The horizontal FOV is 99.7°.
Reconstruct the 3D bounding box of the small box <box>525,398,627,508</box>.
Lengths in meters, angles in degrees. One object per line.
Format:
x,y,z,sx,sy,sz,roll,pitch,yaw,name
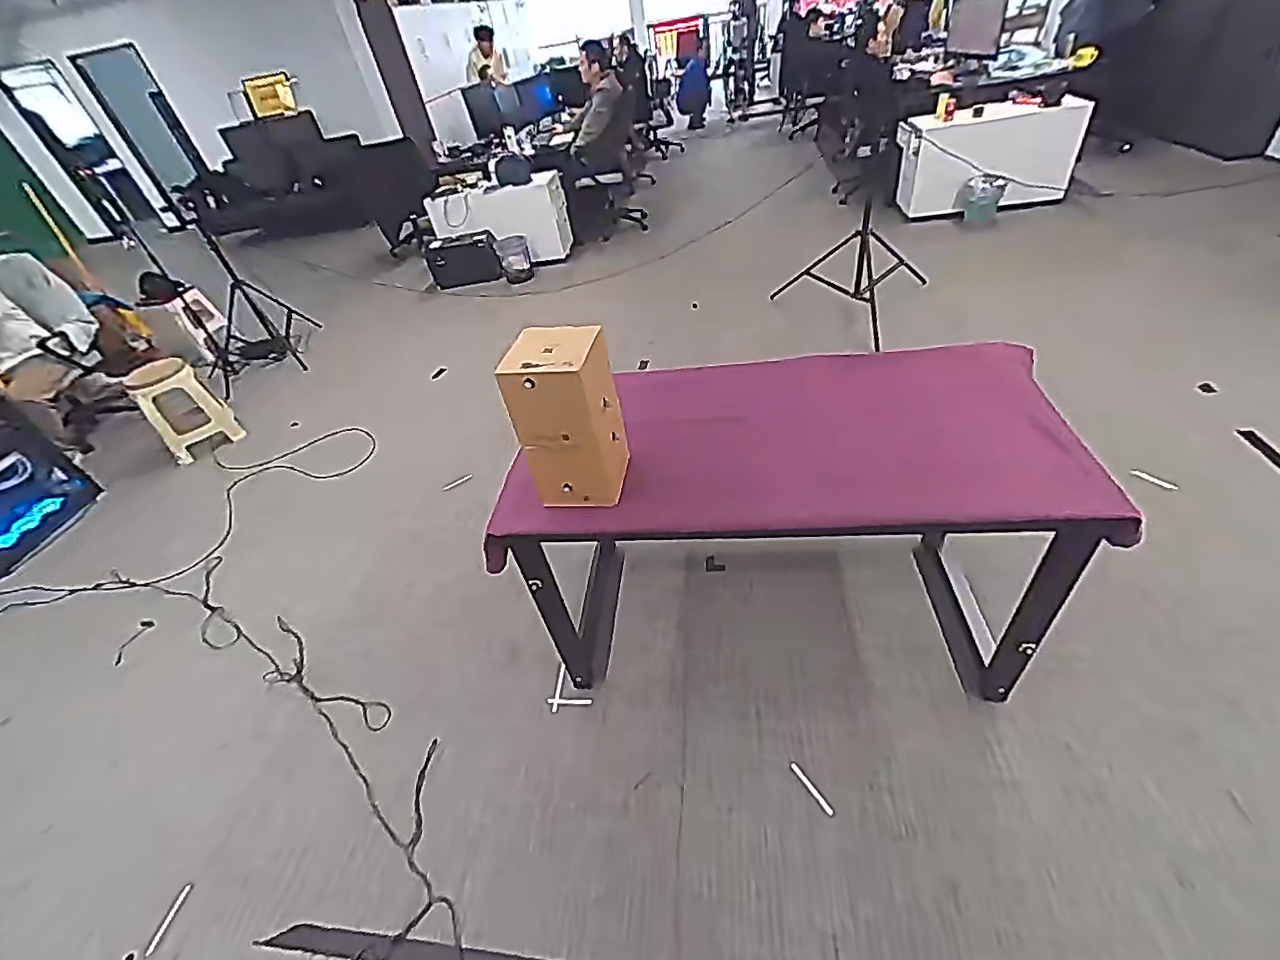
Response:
-0.129,-0.060,1.174,0.168,0.176,0.179,0,41,12,small box

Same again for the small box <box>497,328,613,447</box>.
-0.156,-0.183,1.069,0.168,0.176,0.179,1,41,13,small box
